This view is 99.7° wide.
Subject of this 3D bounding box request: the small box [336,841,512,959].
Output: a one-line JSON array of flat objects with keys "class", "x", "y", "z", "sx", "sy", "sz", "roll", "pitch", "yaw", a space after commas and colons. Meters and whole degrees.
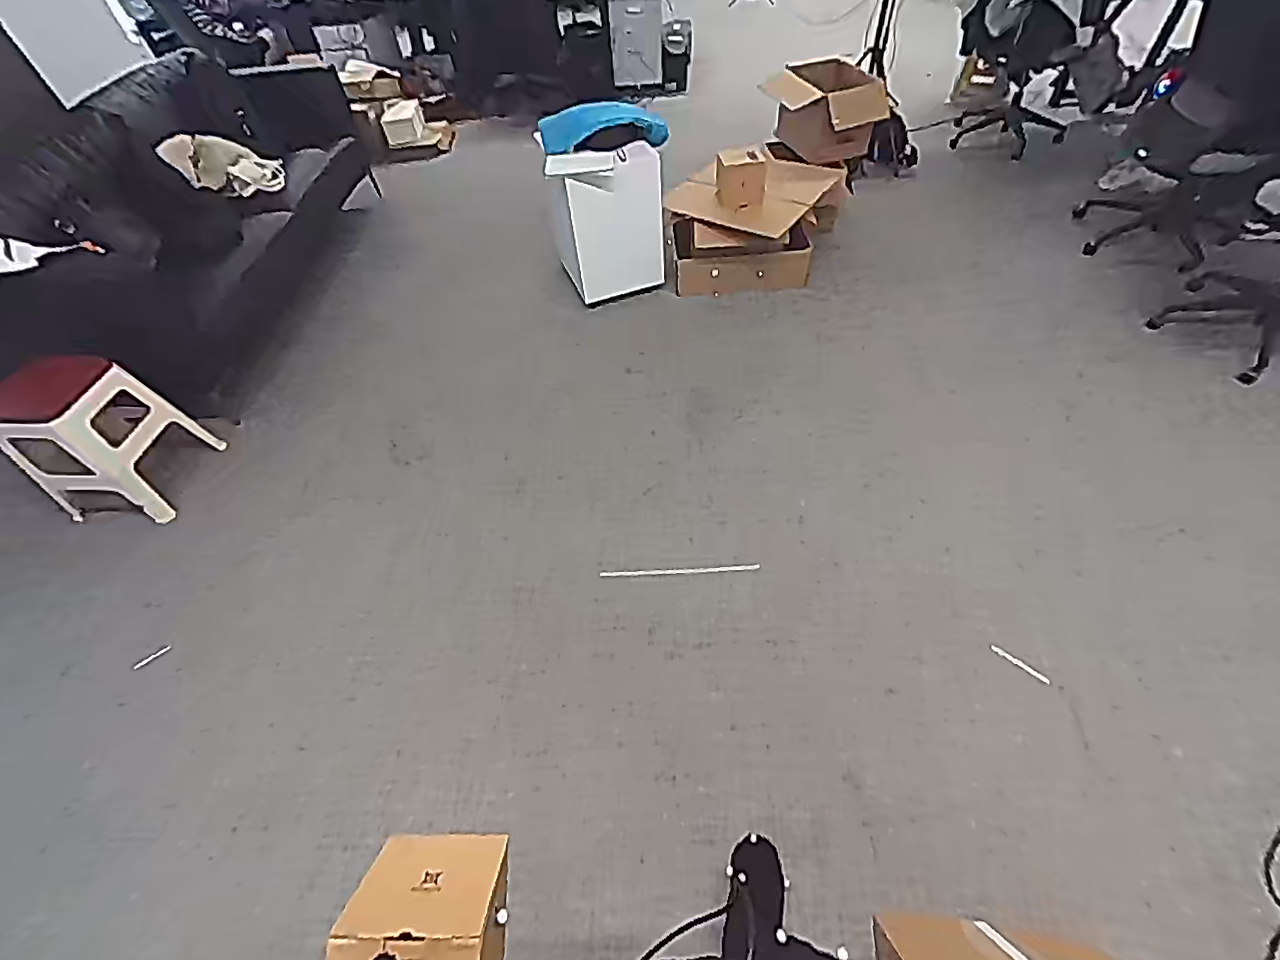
[{"class": "small box", "x": -0.261, "y": 0.589, "z": 0.674, "sx": 0.168, "sy": 0.179, "sz": 0.176, "roll": 1, "pitch": 89, "yaw": -3}]
